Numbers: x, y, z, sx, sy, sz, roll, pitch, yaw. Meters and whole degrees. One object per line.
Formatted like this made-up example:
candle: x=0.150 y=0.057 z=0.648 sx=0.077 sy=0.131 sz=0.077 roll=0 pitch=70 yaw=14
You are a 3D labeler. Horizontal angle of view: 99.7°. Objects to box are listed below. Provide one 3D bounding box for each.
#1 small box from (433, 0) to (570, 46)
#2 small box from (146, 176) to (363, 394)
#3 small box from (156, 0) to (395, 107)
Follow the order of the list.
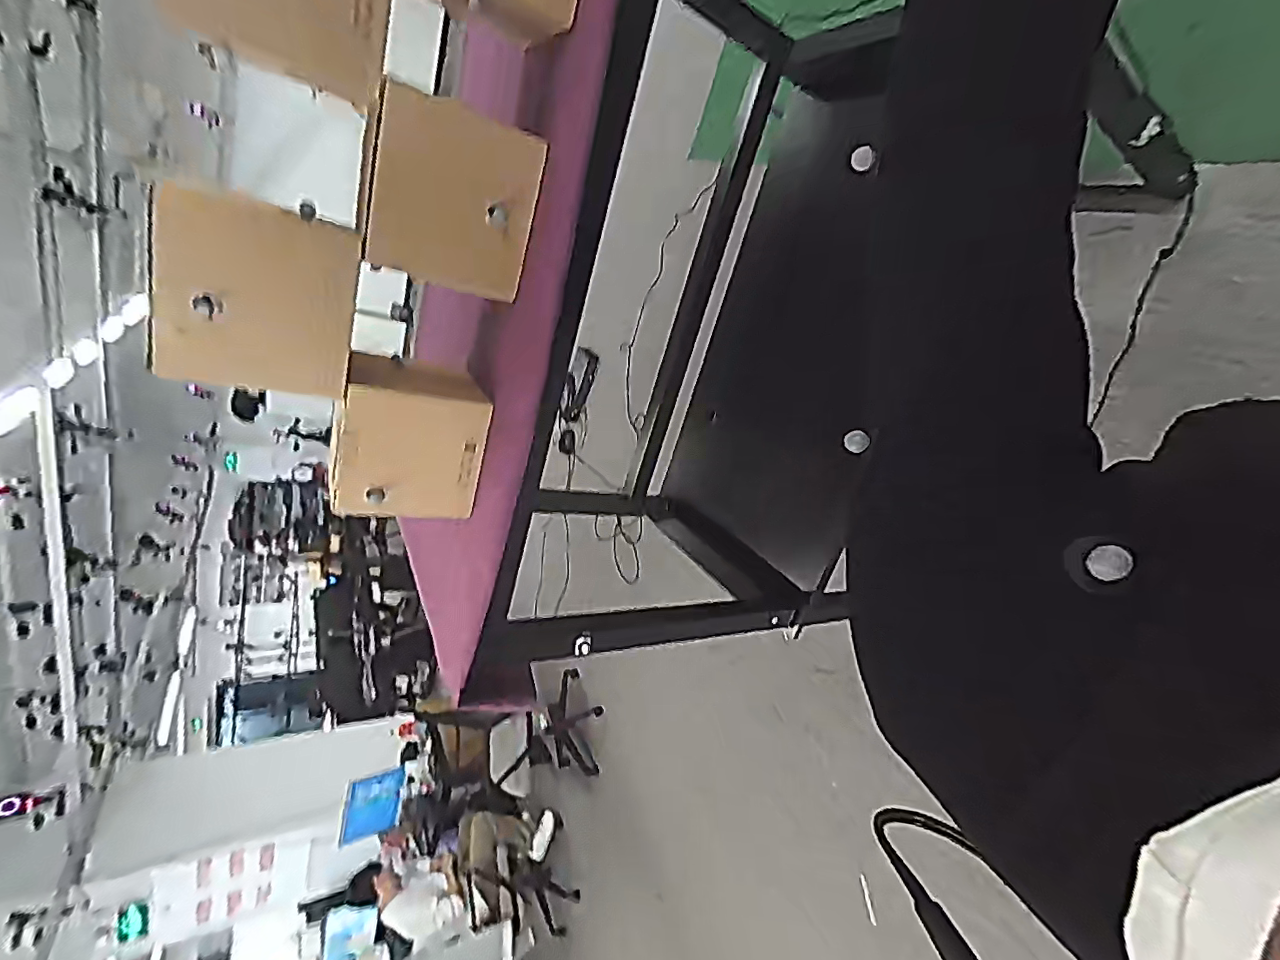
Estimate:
small box: x=-0.149 y=-0.581 z=0.547 sx=0.179 sy=0.176 sz=0.168 roll=48 pitch=125 yaw=49
small box: x=-0.407 y=-0.208 z=0.592 sx=0.168 sy=0.176 sz=0.179 roll=44 pitch=121 yaw=50
small box: x=-0.325 y=-0.475 z=0.503 sx=0.179 sy=0.176 sz=0.168 roll=47 pitch=124 yaw=49
